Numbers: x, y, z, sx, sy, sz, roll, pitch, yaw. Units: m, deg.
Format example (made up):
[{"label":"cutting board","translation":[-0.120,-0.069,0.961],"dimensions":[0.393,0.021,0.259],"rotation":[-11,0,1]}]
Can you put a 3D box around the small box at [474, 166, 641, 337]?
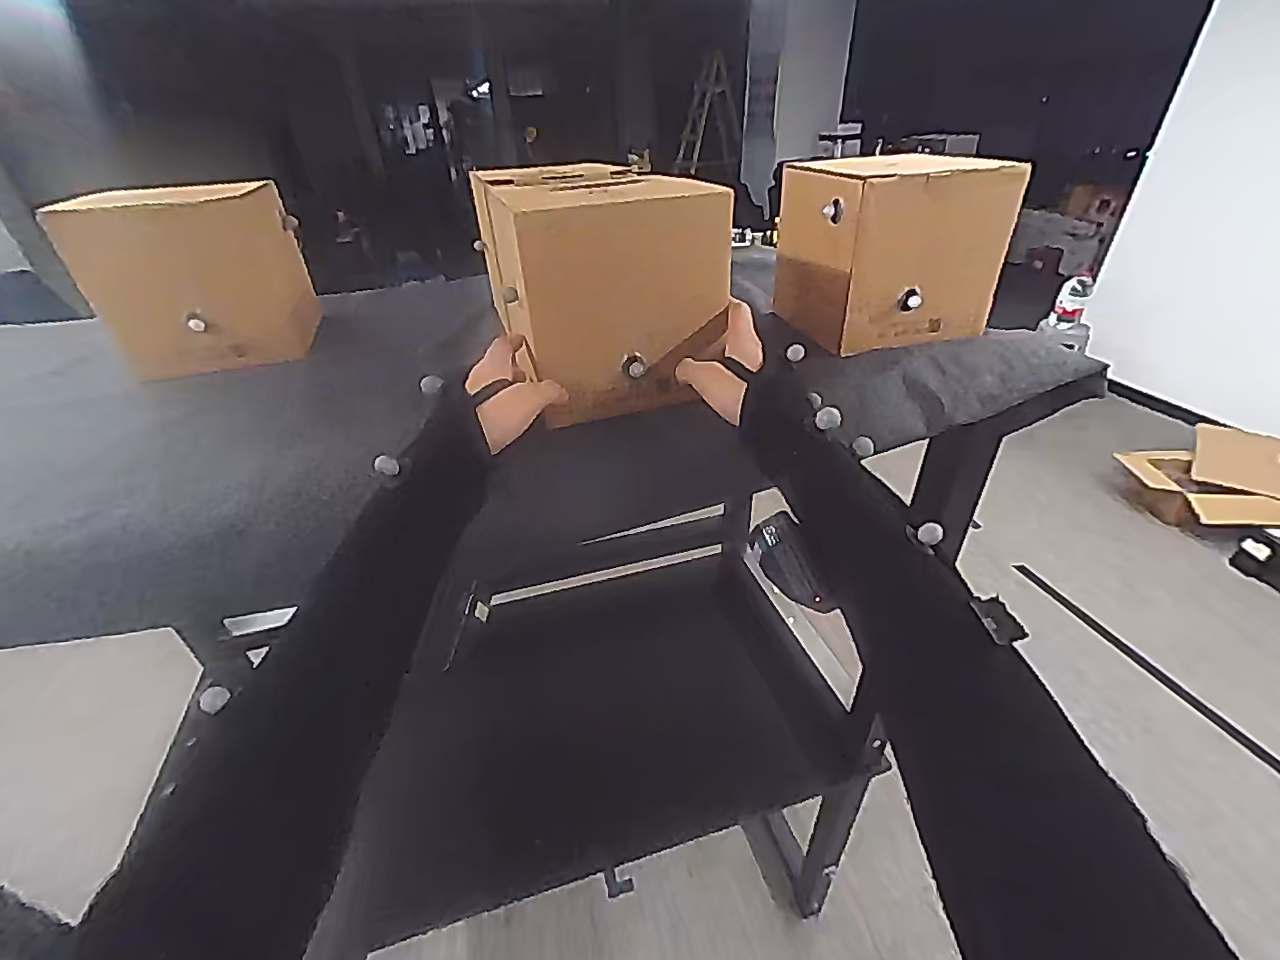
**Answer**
[{"label":"small box","translation":[-0.101,-0.284,0.673],"dimensions":[0.168,0.176,0.179],"rotation":[-12,34,-15]}]

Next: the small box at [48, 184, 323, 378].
[{"label":"small box","translation":[-0.486,-0.232,0.619],"dimensions":[0.168,0.176,0.179],"rotation":[-13,36,-15]}]

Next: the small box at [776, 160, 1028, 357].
[{"label":"small box","translation":[0.261,-0.247,0.593],"dimensions":[0.168,0.176,0.179],"rotation":[-9,35,-8]}]
